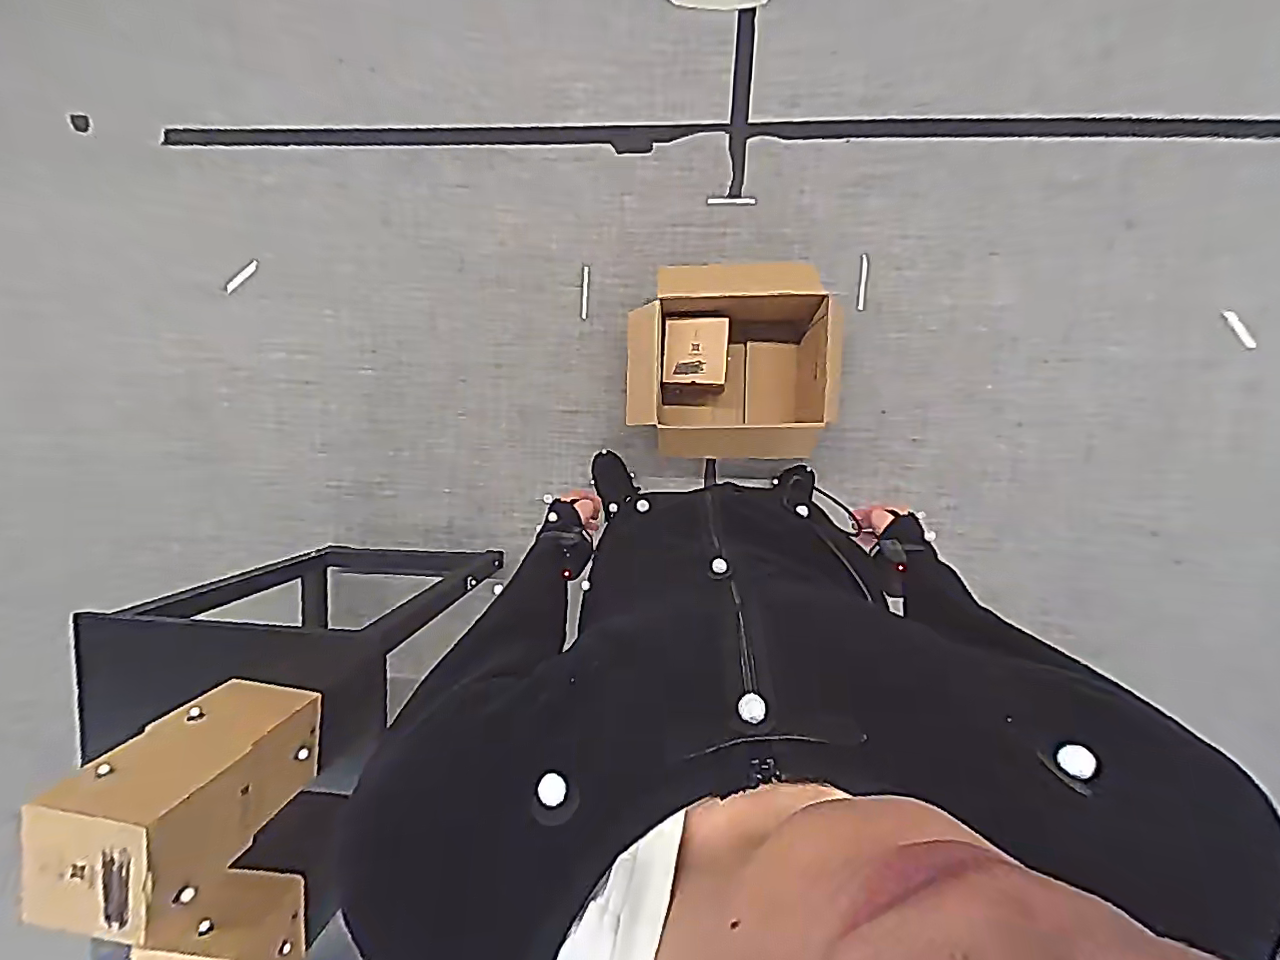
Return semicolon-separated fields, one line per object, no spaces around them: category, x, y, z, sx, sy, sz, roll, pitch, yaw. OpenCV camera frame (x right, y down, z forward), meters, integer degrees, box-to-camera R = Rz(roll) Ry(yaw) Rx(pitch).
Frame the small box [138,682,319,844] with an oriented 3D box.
small box;-0.682;0.462;0.910;0.179;0.176;0.168;8;97;4

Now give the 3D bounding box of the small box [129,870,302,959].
small box;-0.735;0.828;0.950;0.179;0.176;0.168;2;95;4
